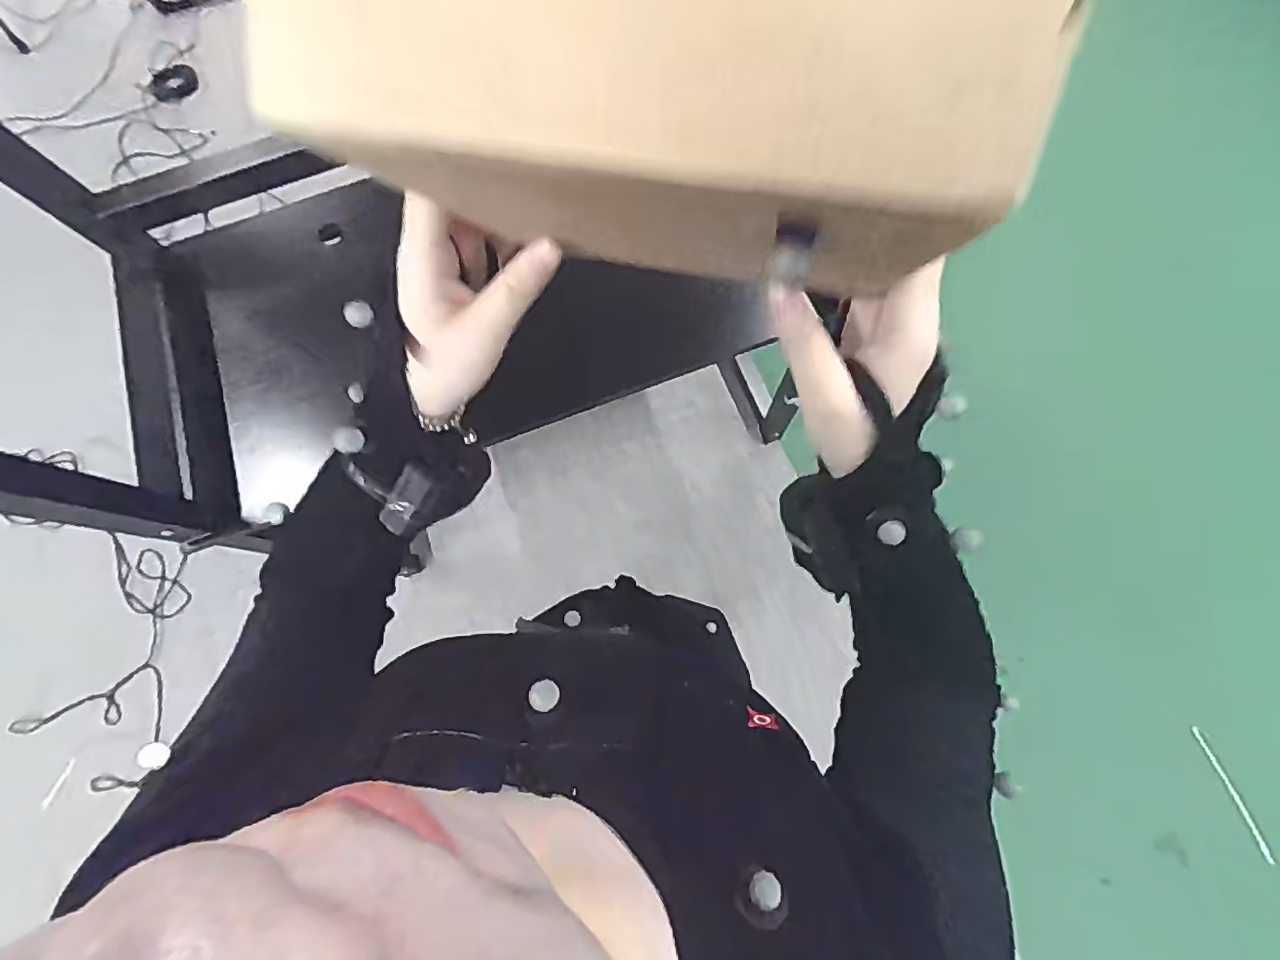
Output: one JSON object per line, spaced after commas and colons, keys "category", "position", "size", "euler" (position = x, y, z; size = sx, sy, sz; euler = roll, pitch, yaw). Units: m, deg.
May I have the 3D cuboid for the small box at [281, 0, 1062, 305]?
{"category": "small box", "position": [0.020, -0.159, 0.183], "size": [0.179, 0.176, 0.168], "euler": [12, 106, 10]}
